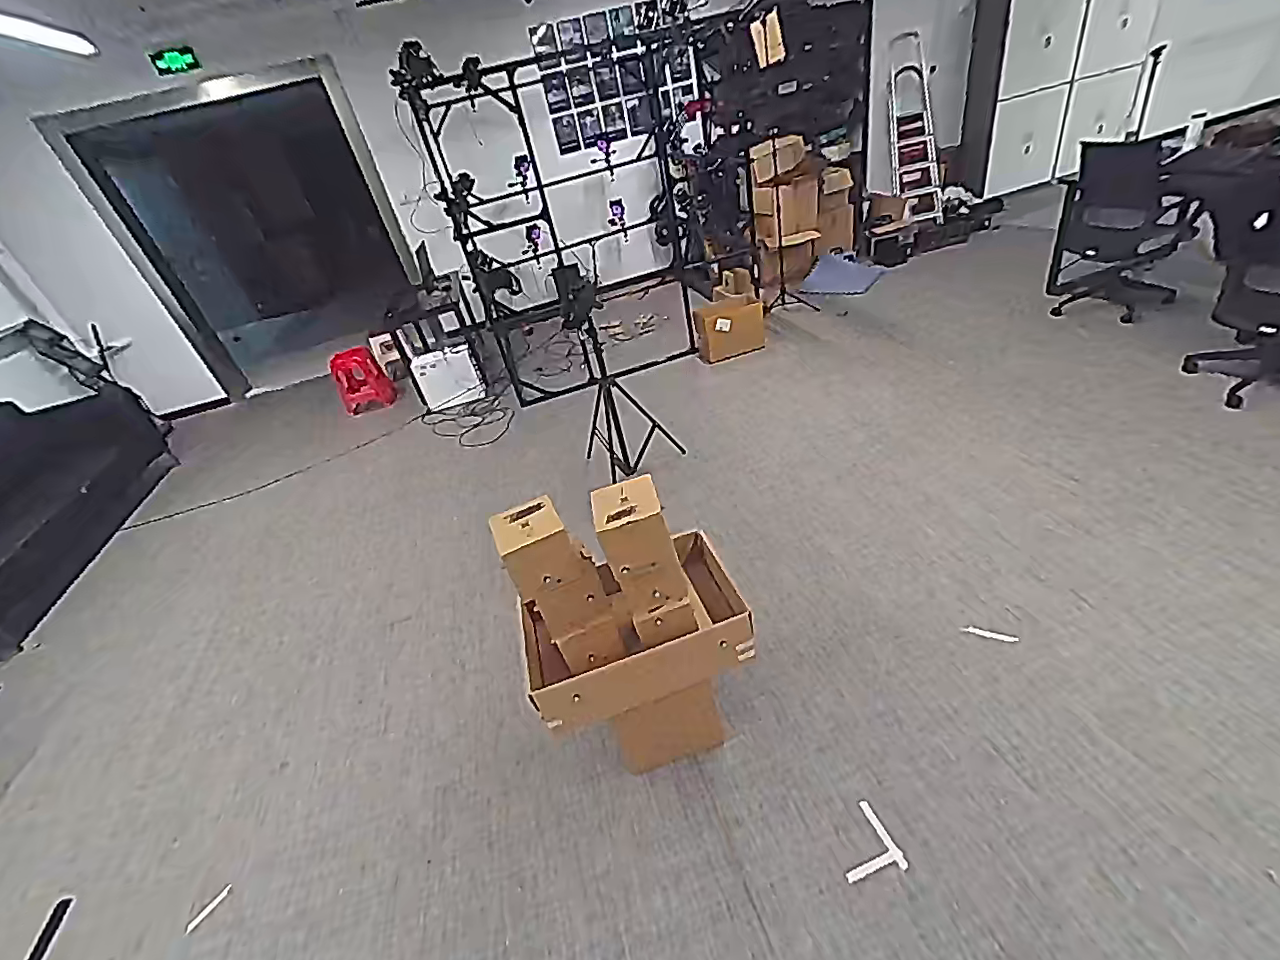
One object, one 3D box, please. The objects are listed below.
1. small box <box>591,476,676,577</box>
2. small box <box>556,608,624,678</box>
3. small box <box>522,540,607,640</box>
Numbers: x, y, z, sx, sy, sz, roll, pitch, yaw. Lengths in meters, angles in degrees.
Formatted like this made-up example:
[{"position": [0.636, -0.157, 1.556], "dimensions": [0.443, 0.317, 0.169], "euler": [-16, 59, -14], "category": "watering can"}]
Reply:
[{"position": [-0.017, 0.123, 1.366], "dimensions": [0.168, 0.176, 0.179], "euler": [-17, 34, 1], "category": "small box"}, {"position": [-0.163, 0.434, 1.565], "dimensions": [0.168, 0.176, 0.179], "euler": [-23, 35, -13], "category": "small box"}, {"position": [-0.202, 0.300, 1.480], "dimensions": [0.179, 0.176, 0.168], "euler": [-23, 34, -13], "category": "small box"}]
